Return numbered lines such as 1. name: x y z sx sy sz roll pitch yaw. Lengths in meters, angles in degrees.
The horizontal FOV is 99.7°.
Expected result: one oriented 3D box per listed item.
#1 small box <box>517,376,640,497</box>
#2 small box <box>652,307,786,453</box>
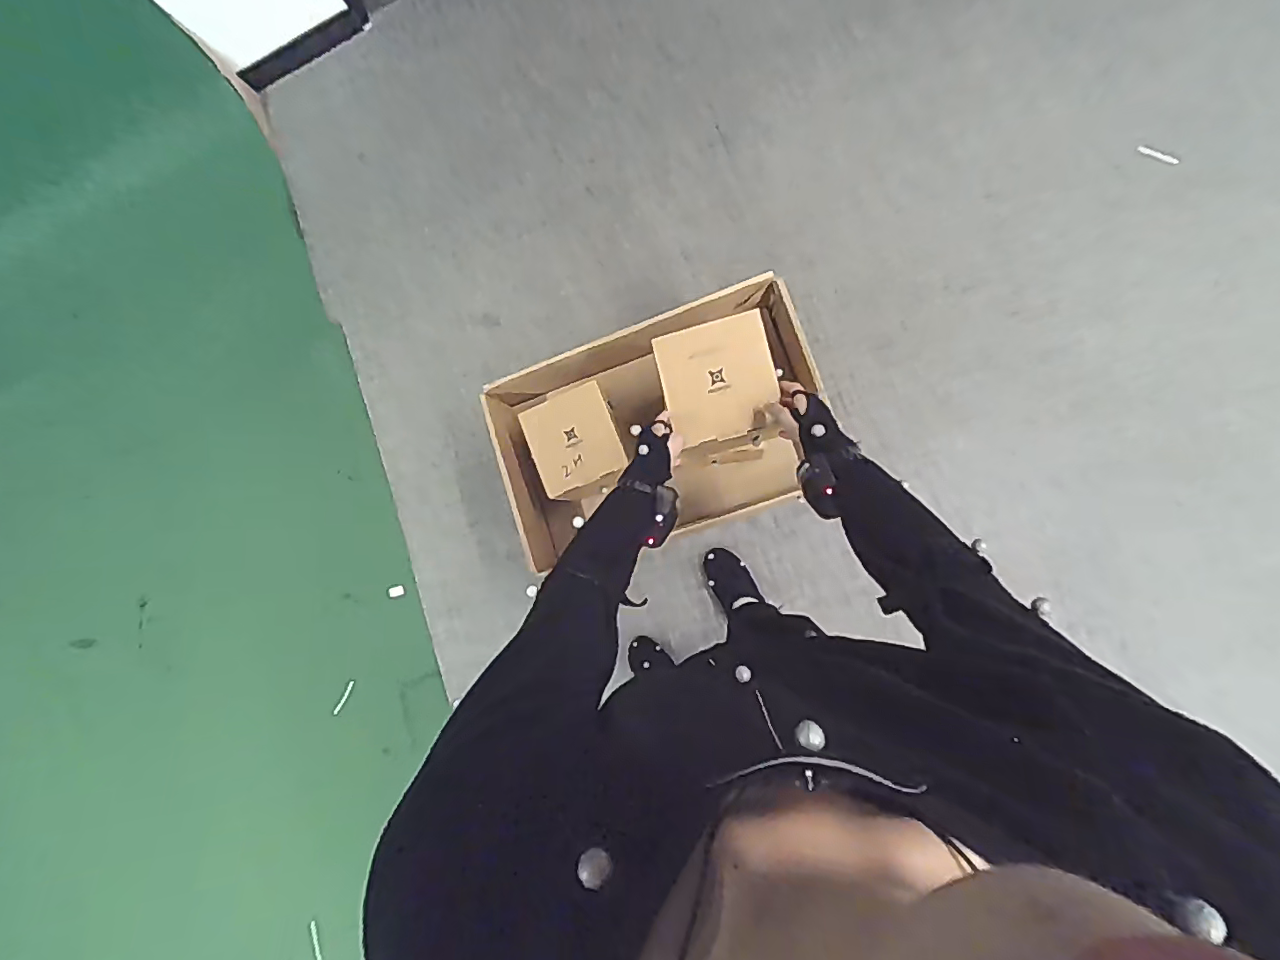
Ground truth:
1. small box: -0.113 -0.075 1.058 0.168 0.176 0.179 -22 83 8
2. small box: 0.126 -0.144 0.856 0.168 0.176 0.179 -13 85 9
